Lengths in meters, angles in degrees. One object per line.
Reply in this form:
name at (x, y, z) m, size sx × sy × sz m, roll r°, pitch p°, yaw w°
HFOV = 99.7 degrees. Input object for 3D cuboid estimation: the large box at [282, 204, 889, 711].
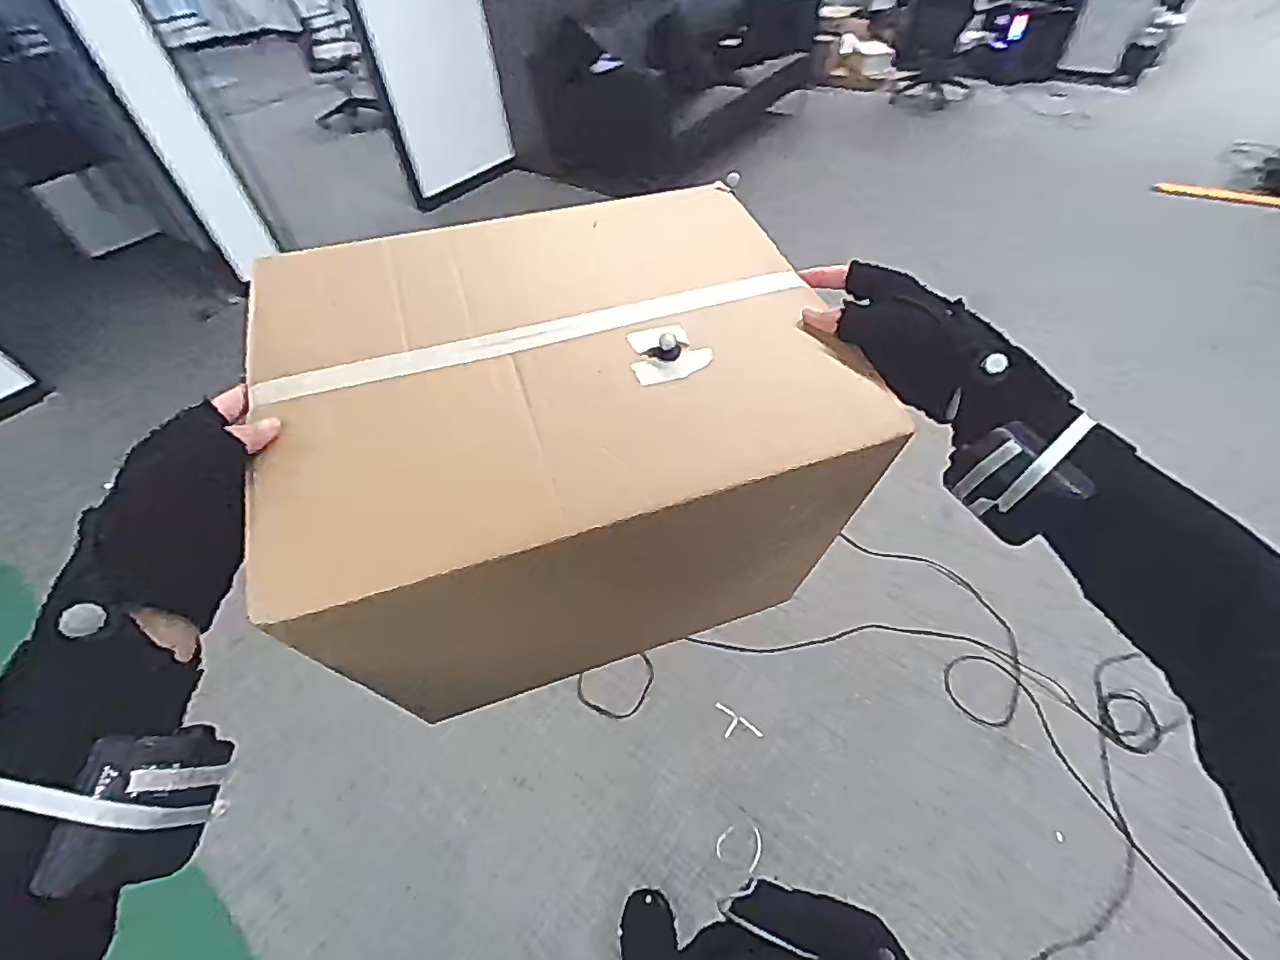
large box at (-0.065, -0.019, 0.535) m, size 0.408 × 0.320 × 0.320 m, roll -15°, pitch 59°, yaw -13°
